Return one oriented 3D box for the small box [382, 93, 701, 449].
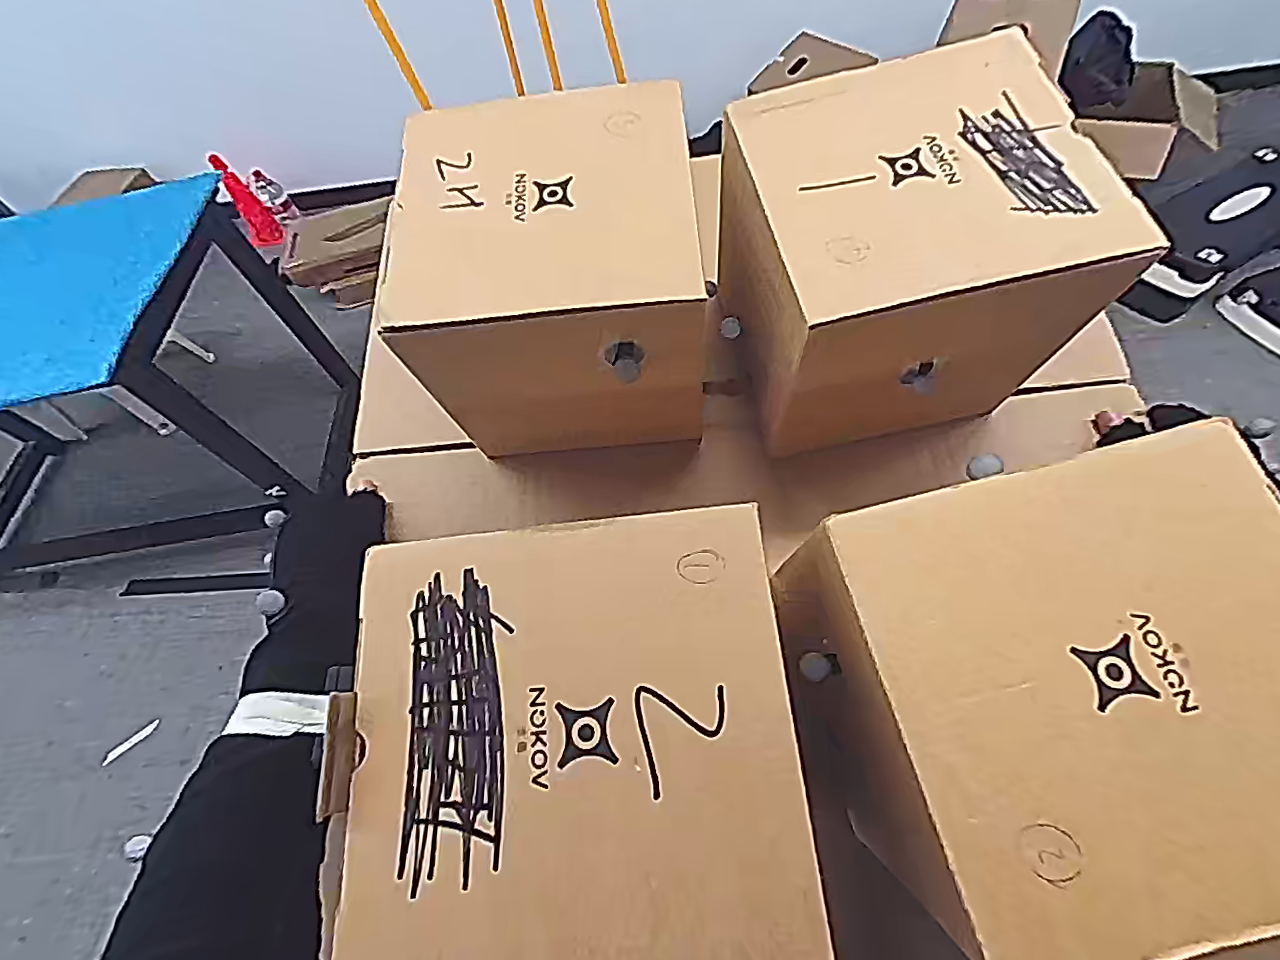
[{"bbox_3d":[-0.050,-0.132,0.391,0.179,0.176,0.168,-4,68,5],"label":"small box"}]
